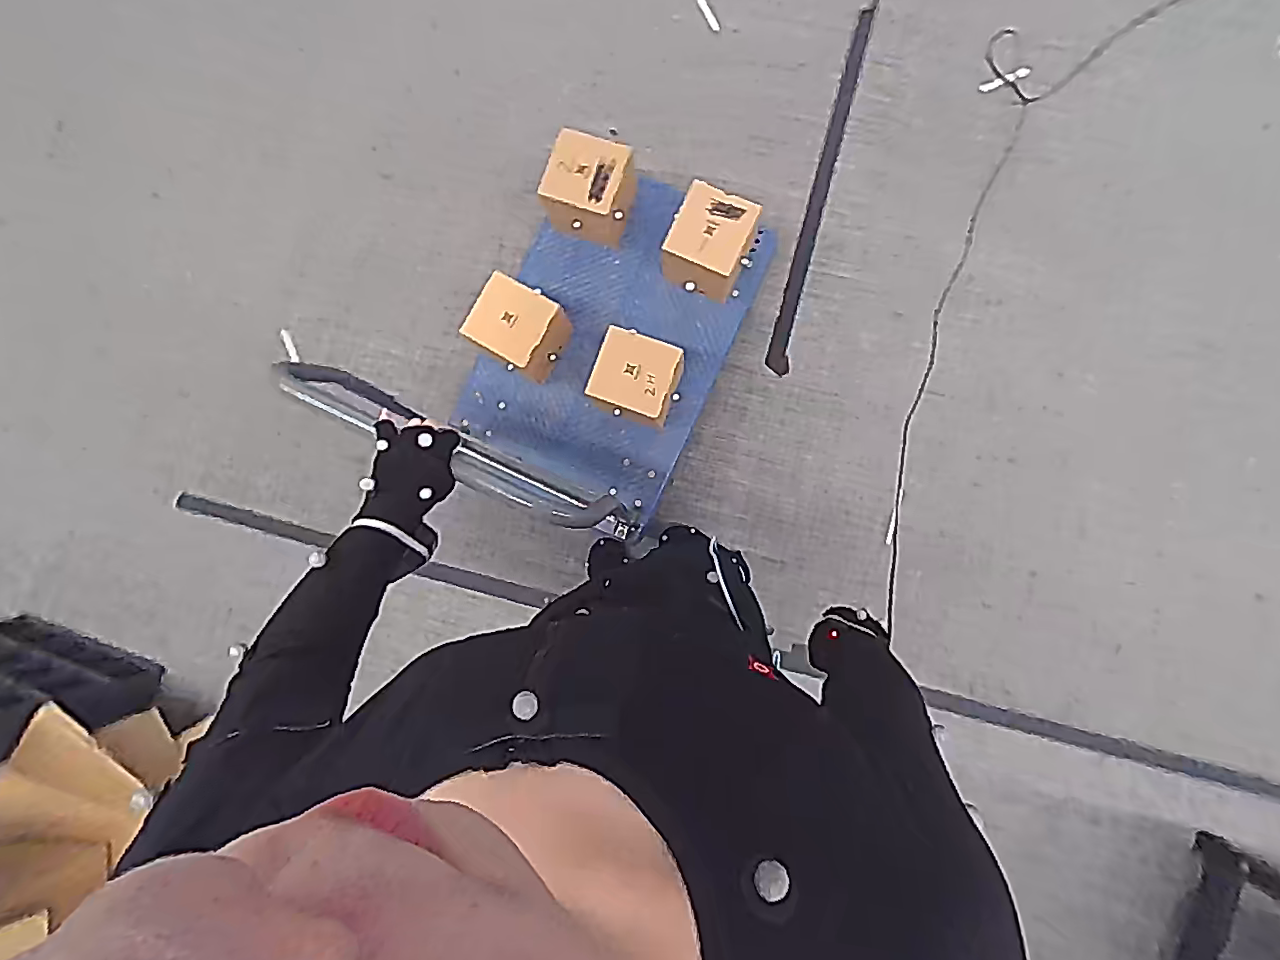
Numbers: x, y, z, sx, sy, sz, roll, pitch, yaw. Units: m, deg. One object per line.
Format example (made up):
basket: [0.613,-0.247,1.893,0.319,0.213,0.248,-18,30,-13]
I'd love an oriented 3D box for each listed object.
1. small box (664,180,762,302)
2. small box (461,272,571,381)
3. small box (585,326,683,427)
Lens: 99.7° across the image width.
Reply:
small box: [0.166,-0.551,1.269,0.168,0.176,0.179,26,90,6]
small box: [-0.288,-0.357,1.296,0.179,0.176,0.168,30,89,4]
small box: [-0.007,-0.233,1.266,0.179,0.176,0.168,20,89,6]
